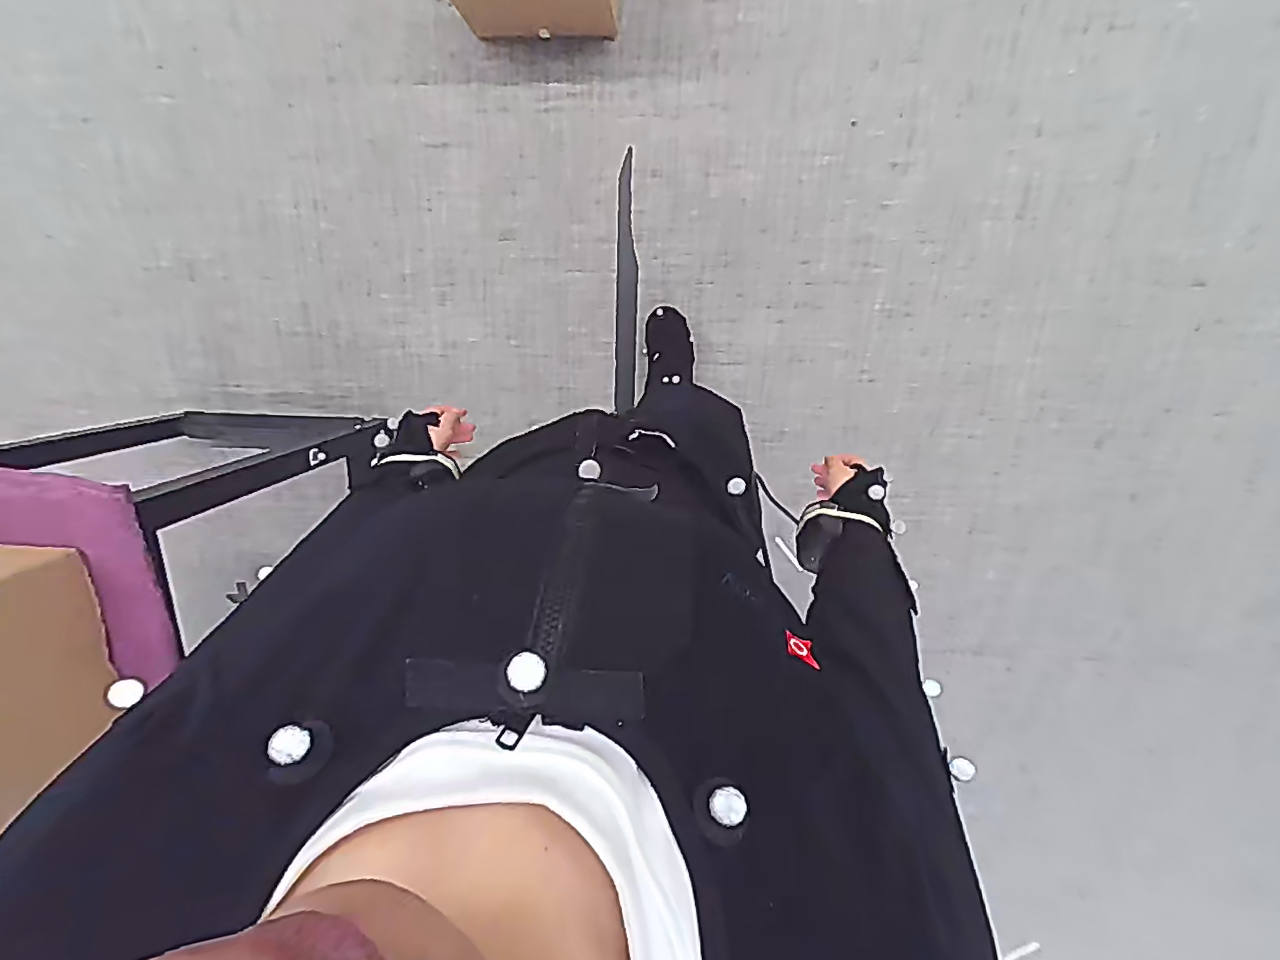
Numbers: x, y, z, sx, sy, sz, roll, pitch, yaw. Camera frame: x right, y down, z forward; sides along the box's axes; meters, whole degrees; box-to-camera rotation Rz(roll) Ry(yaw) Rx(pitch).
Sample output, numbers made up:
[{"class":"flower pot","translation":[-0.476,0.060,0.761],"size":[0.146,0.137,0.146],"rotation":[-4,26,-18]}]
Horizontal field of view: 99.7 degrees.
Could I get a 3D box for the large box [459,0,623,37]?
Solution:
[{"class":"large box","translation":[-0.197,-1.088,0.945],"size":[0.320,0.320,0.408],"rotation":[1,107,5]}]
